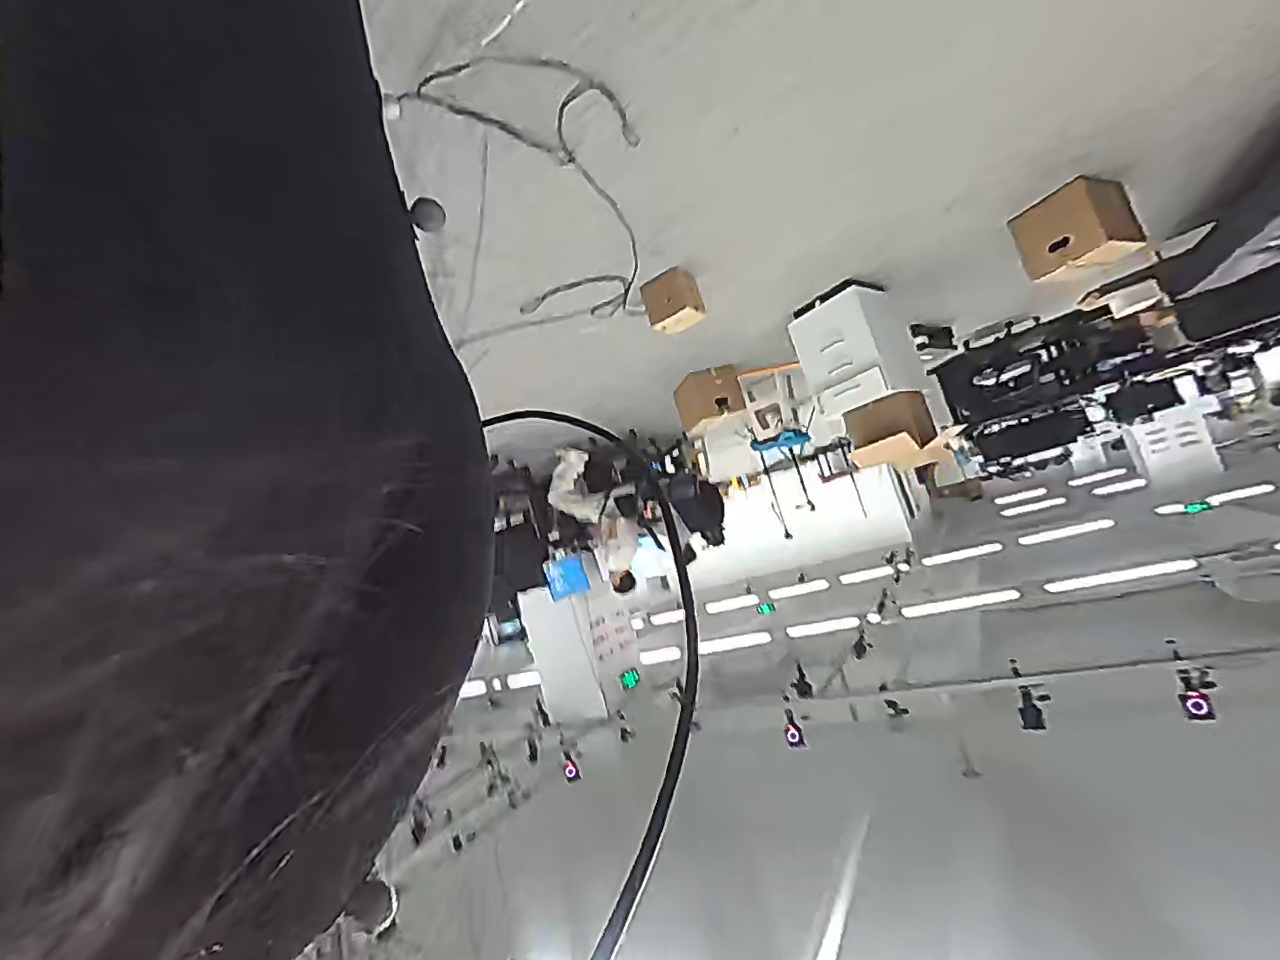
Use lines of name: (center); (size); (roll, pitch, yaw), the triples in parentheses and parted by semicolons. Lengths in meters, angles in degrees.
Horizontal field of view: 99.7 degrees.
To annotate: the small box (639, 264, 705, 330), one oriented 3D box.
small box: (0.123, -0.715, 2.119); (0.179, 0.176, 0.168); (-23, 171, 32)
